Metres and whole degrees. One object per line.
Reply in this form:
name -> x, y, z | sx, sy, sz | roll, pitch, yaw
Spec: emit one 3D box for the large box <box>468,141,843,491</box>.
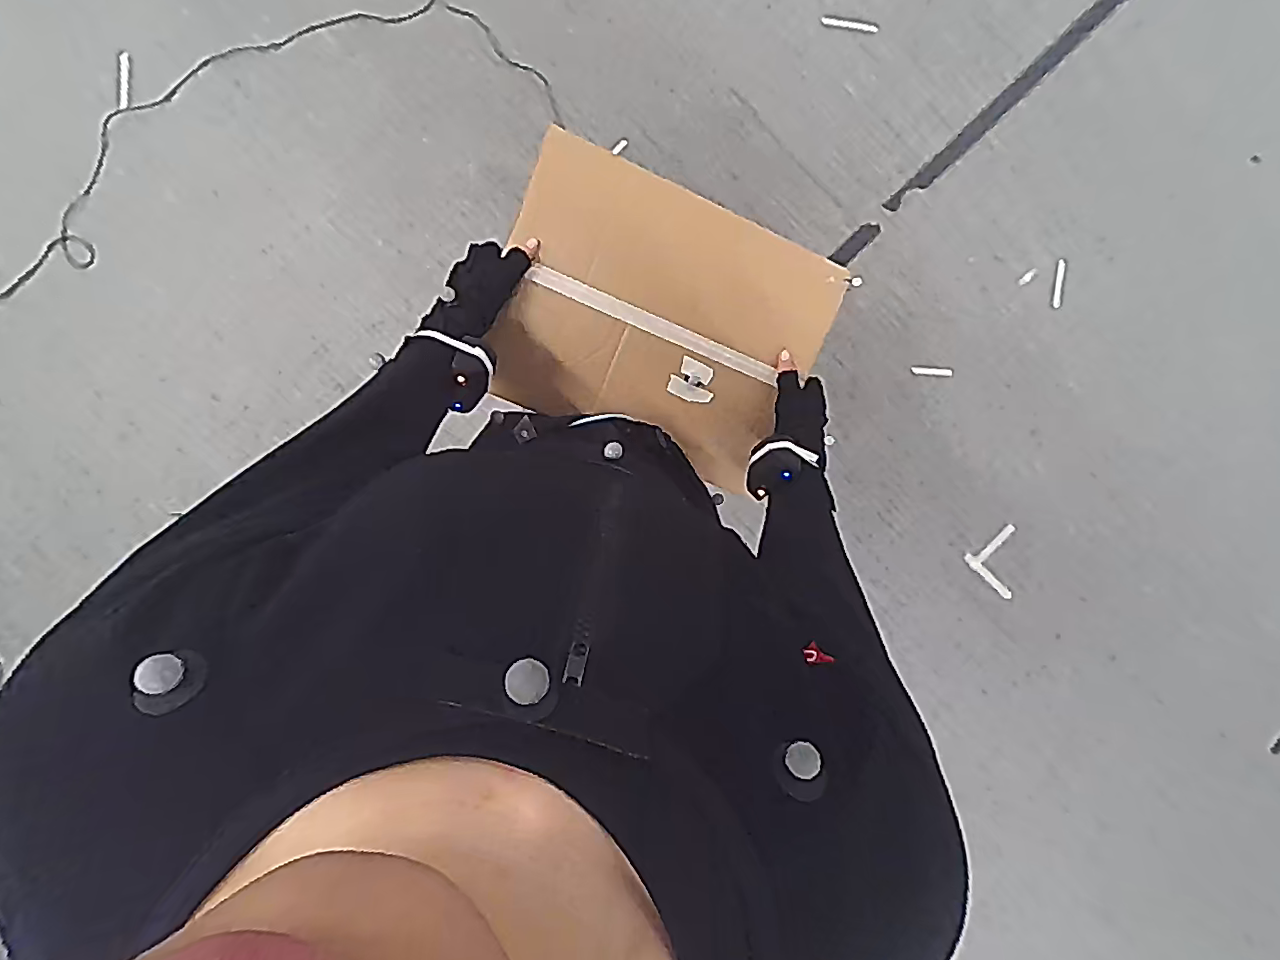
large box -> 0.006, -0.219, 0.823 | 0.408, 0.320, 0.320 | 21, 100, -9
